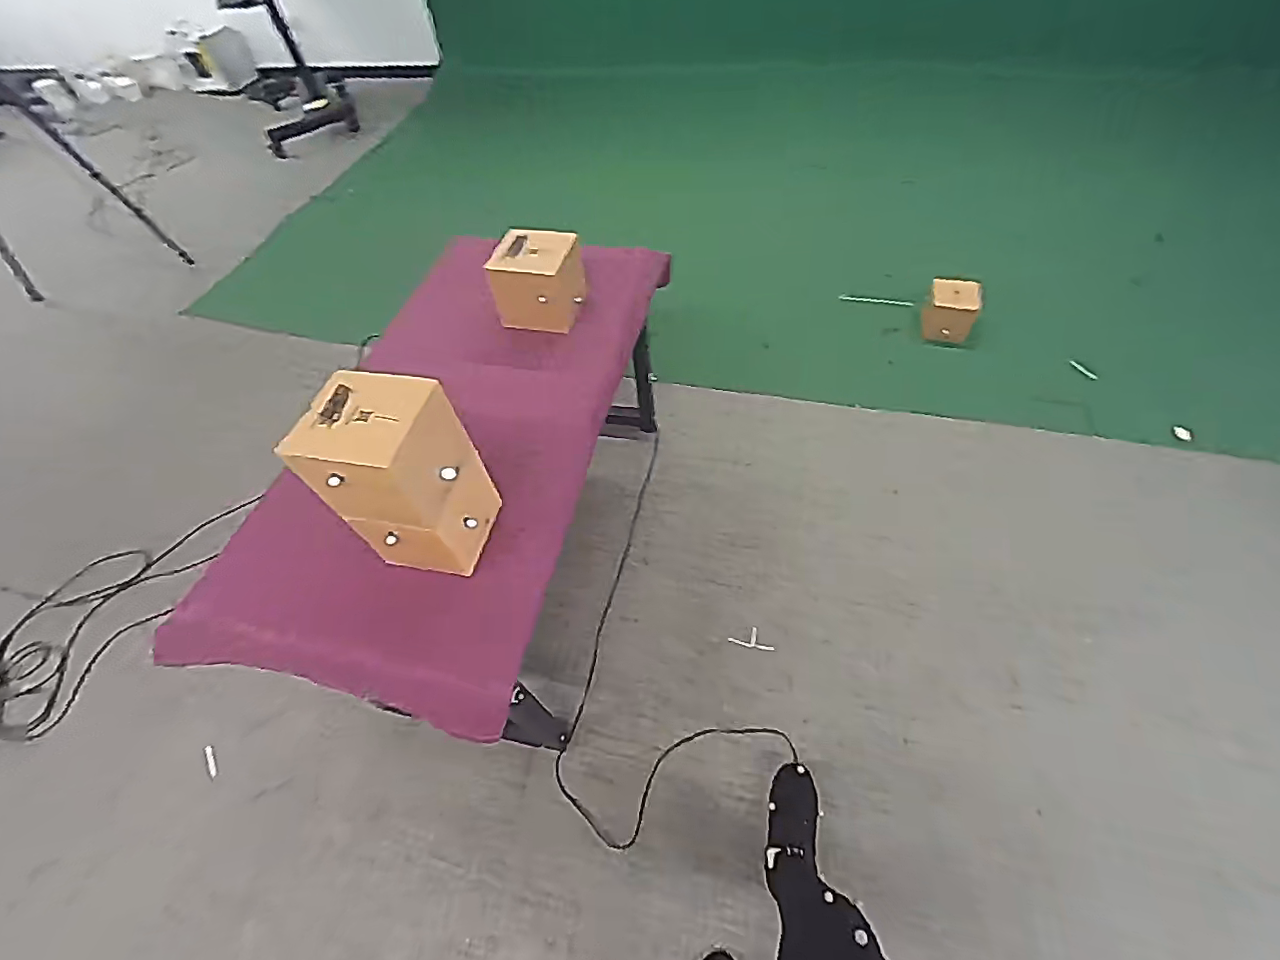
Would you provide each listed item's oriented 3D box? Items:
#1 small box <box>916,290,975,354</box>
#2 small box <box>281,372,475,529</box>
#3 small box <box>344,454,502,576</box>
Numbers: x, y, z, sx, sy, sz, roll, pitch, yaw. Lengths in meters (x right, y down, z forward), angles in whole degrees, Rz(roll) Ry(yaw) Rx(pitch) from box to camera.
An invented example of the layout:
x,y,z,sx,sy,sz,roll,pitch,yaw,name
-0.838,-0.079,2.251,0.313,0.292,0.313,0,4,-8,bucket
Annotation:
x,y,z,sx,sy,sz,roll,pitch,yaw,name
1.249,-0.648,2.218,0.168,0.176,0.179,11,56,13,small box
-0.383,-0.041,0.828,0.179,0.176,0.168,8,56,11,small box
-0.368,0.056,0.960,0.179,0.176,0.168,7,55,11,small box
